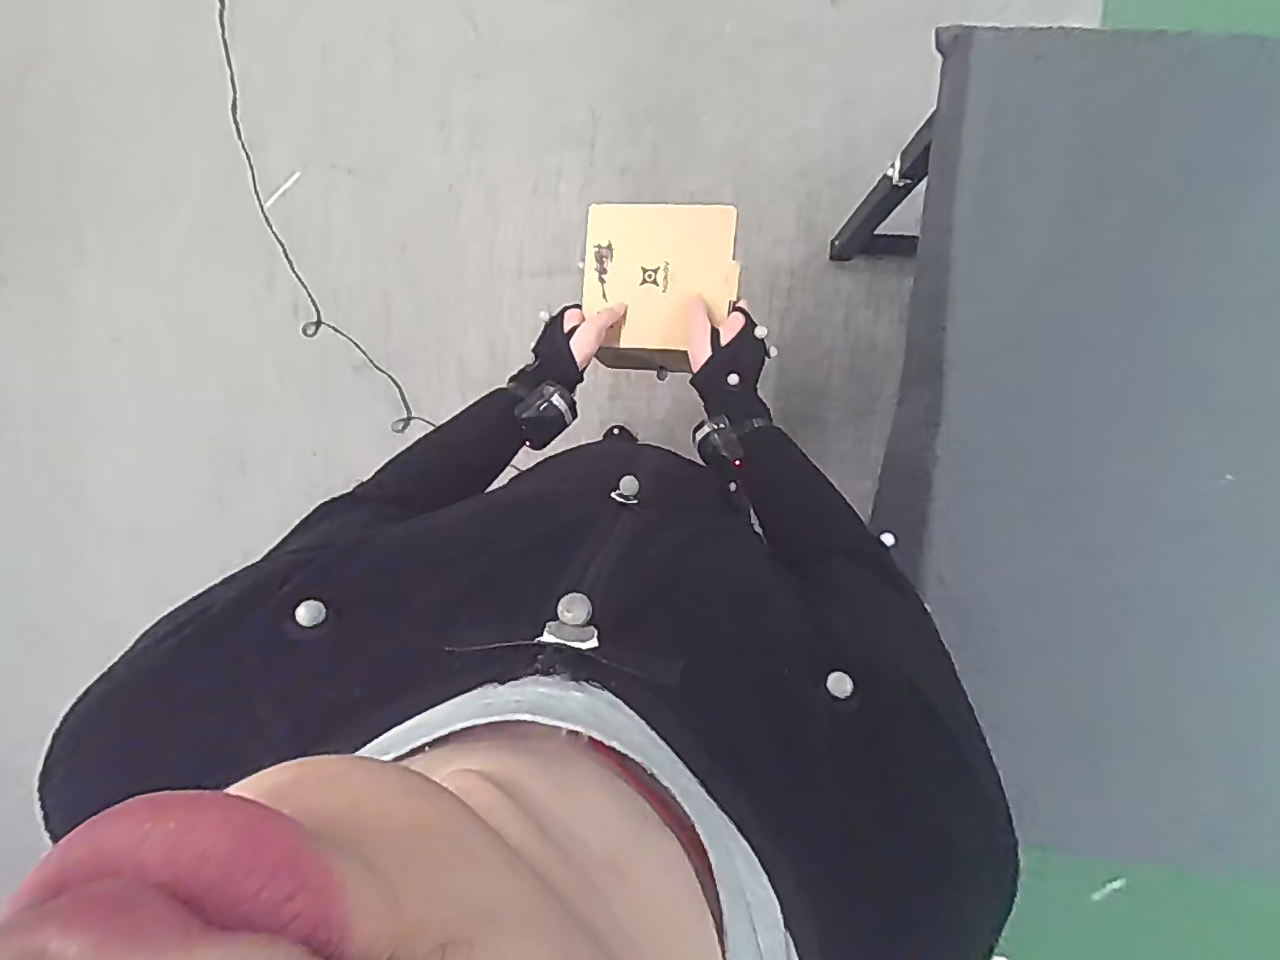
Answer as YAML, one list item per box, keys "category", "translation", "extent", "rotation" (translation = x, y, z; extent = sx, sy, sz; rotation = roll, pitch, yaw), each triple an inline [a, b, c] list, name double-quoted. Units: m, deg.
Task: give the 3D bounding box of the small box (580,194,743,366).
- category: "small box"
  translation: [0.030, -0.242, 0.694]
  extent: [0.179, 0.176, 0.168]
  rotation: [5, 94, 5]
